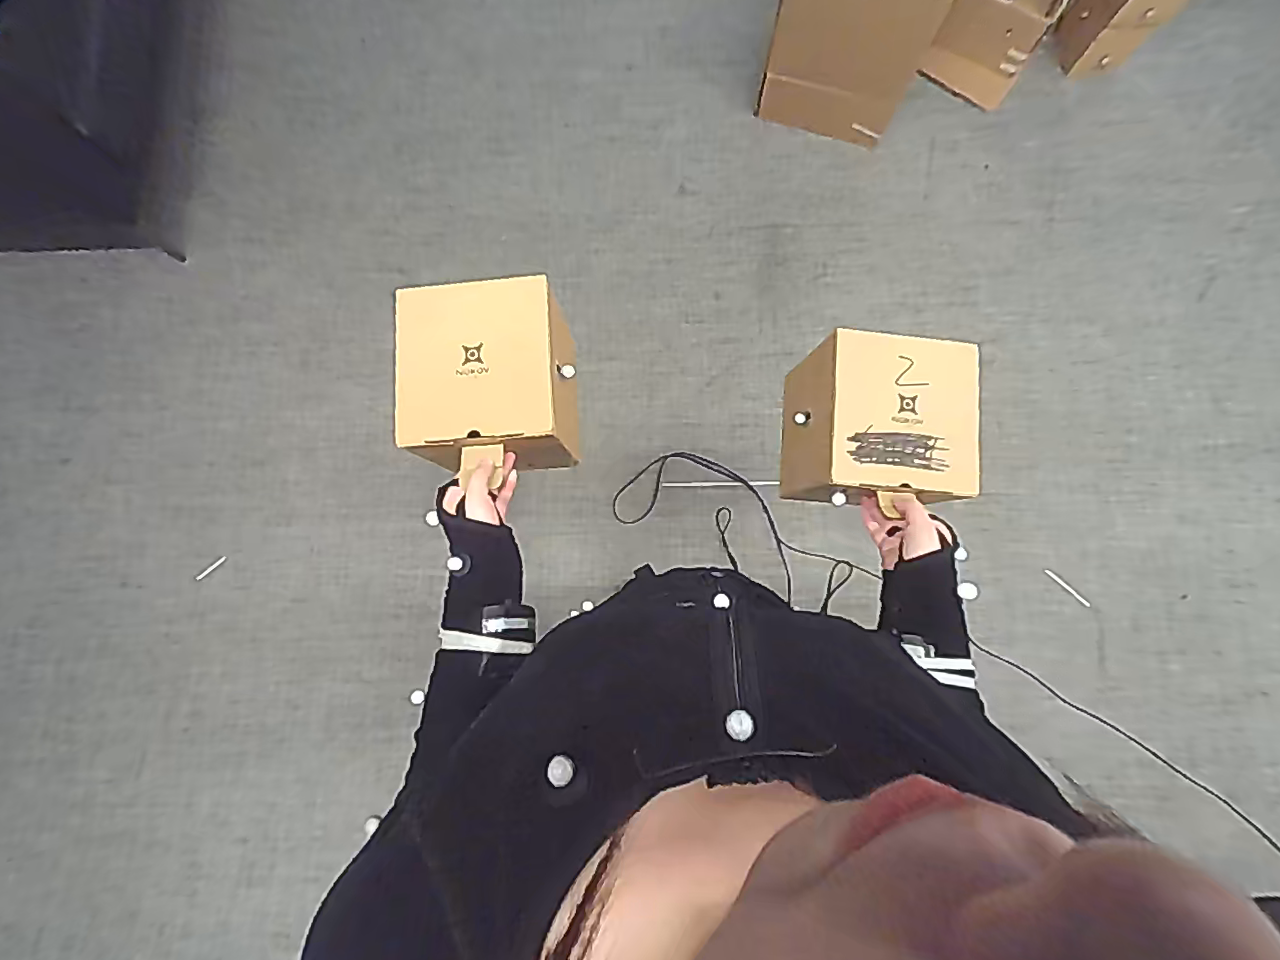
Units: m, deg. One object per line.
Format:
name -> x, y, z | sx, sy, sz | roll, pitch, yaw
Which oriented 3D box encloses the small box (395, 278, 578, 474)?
small box -> -0.168, -0.111, 0.638 | 0.168, 0.176, 0.179 | -4, 81, 2
